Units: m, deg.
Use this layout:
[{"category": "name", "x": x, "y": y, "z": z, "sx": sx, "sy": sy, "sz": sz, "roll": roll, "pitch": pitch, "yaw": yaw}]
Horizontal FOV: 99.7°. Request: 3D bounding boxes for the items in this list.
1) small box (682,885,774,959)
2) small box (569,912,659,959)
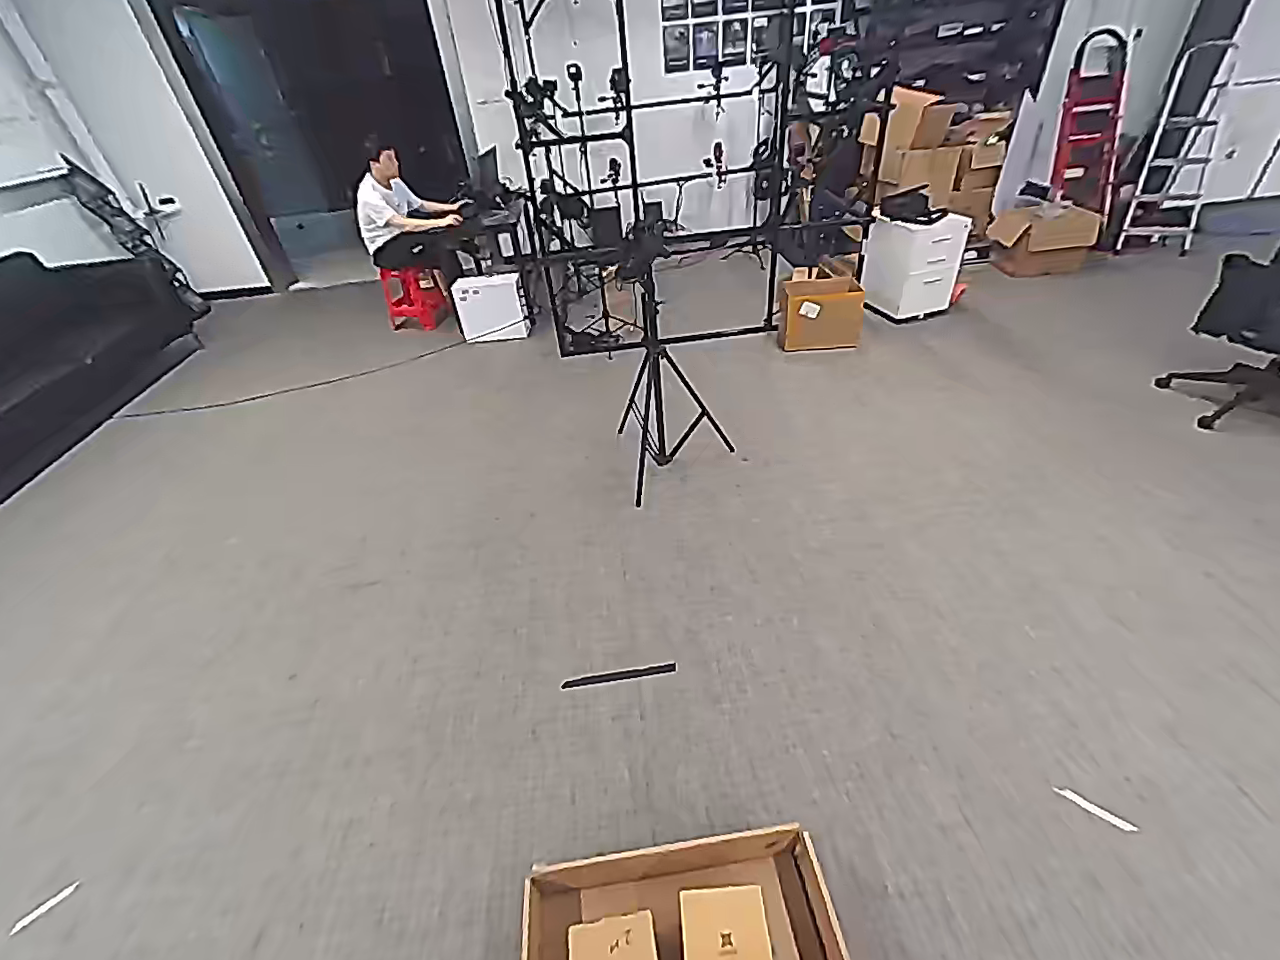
[{"category": "small box", "x": 0.172, "y": 0.935, "z": 1.068, "sx": 0.168, "sy": 0.176, "sz": 0.179, "roll": -5, "pitch": 38, "yaw": 2}, {"category": "small box", "x": -0.041, "y": 0.975, "z": 1.041, "sx": 0.168, "sy": 0.176, "sz": 0.179, "roll": -8, "pitch": 38, "yaw": -5}]
